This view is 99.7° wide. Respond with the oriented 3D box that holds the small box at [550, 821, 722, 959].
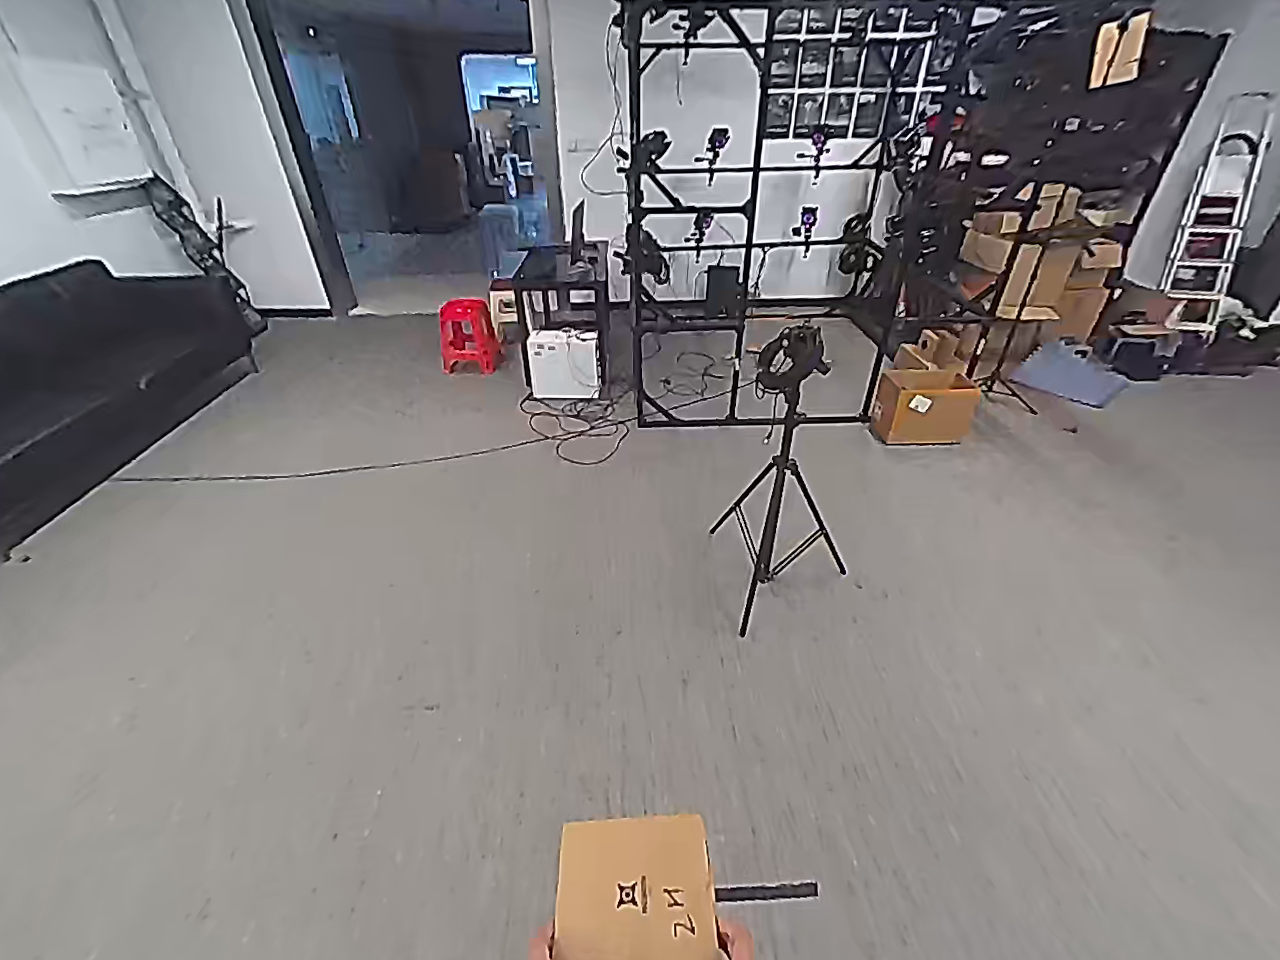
[{"bbox_3d":[0.000,0.527,0.626,0.179,0.176,0.168,-3,31,1],"label":"small box"}]
